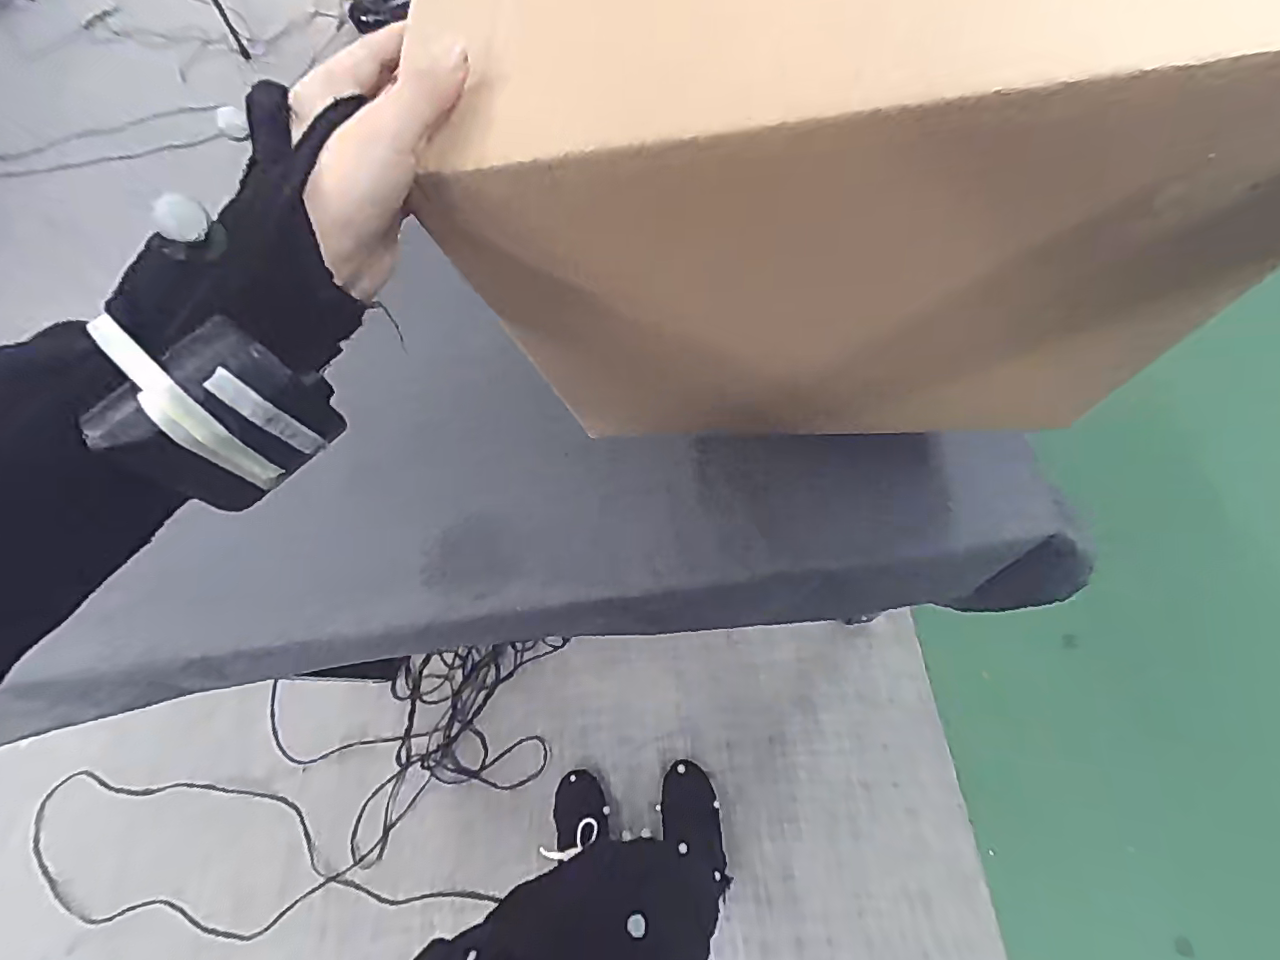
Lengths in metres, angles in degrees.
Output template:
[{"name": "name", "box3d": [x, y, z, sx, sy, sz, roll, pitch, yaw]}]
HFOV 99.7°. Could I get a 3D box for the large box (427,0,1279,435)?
[{"name": "large box", "box3d": [0.129, -0.234, 0.390, 0.408, 0.320, 0.320, 0, 73, 11]}]
